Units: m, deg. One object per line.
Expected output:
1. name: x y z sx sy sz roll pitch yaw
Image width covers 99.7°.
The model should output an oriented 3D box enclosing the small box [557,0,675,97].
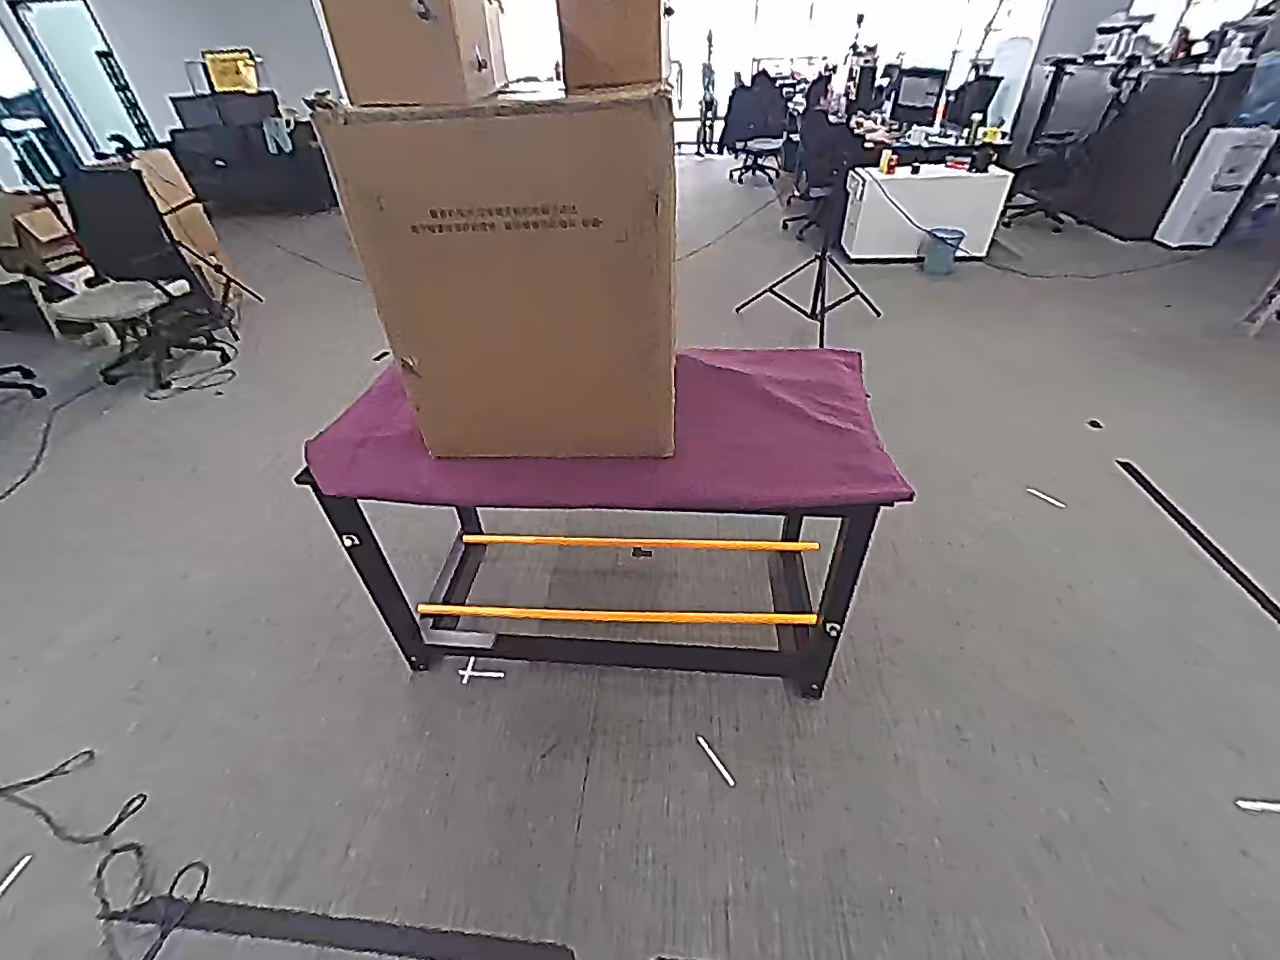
1. small box: -0.034 -0.777 0.936 0.179 0.176 0.168 3 39 9
